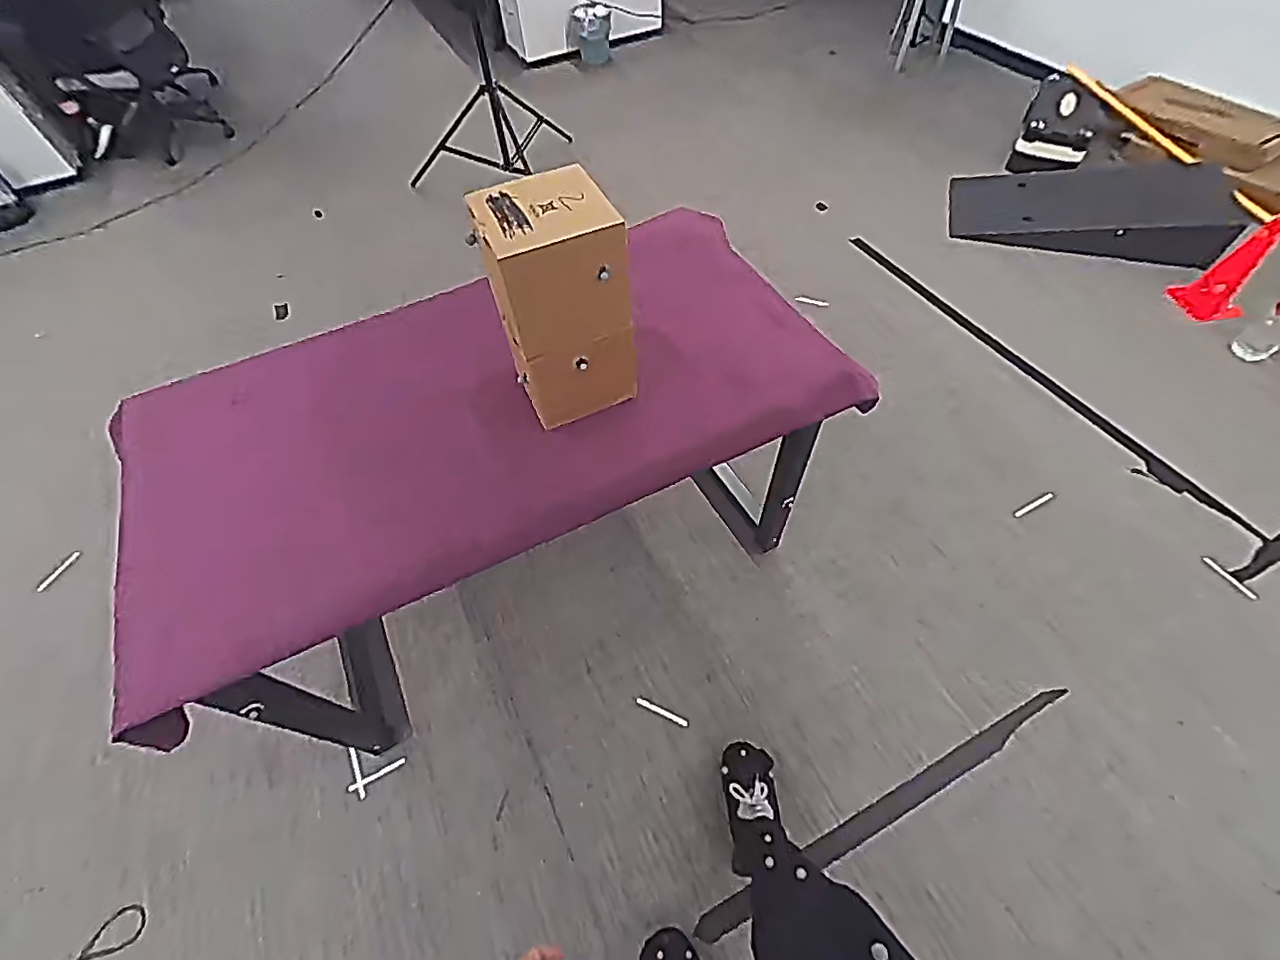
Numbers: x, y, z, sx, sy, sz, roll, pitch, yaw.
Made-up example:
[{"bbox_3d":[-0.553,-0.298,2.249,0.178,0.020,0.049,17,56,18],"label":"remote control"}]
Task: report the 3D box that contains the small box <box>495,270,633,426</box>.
[{"bbox_3d":[-0.122,-0.219,0.921,0.179,0.176,0.168,-23,59,-12],"label":"small box"}]
